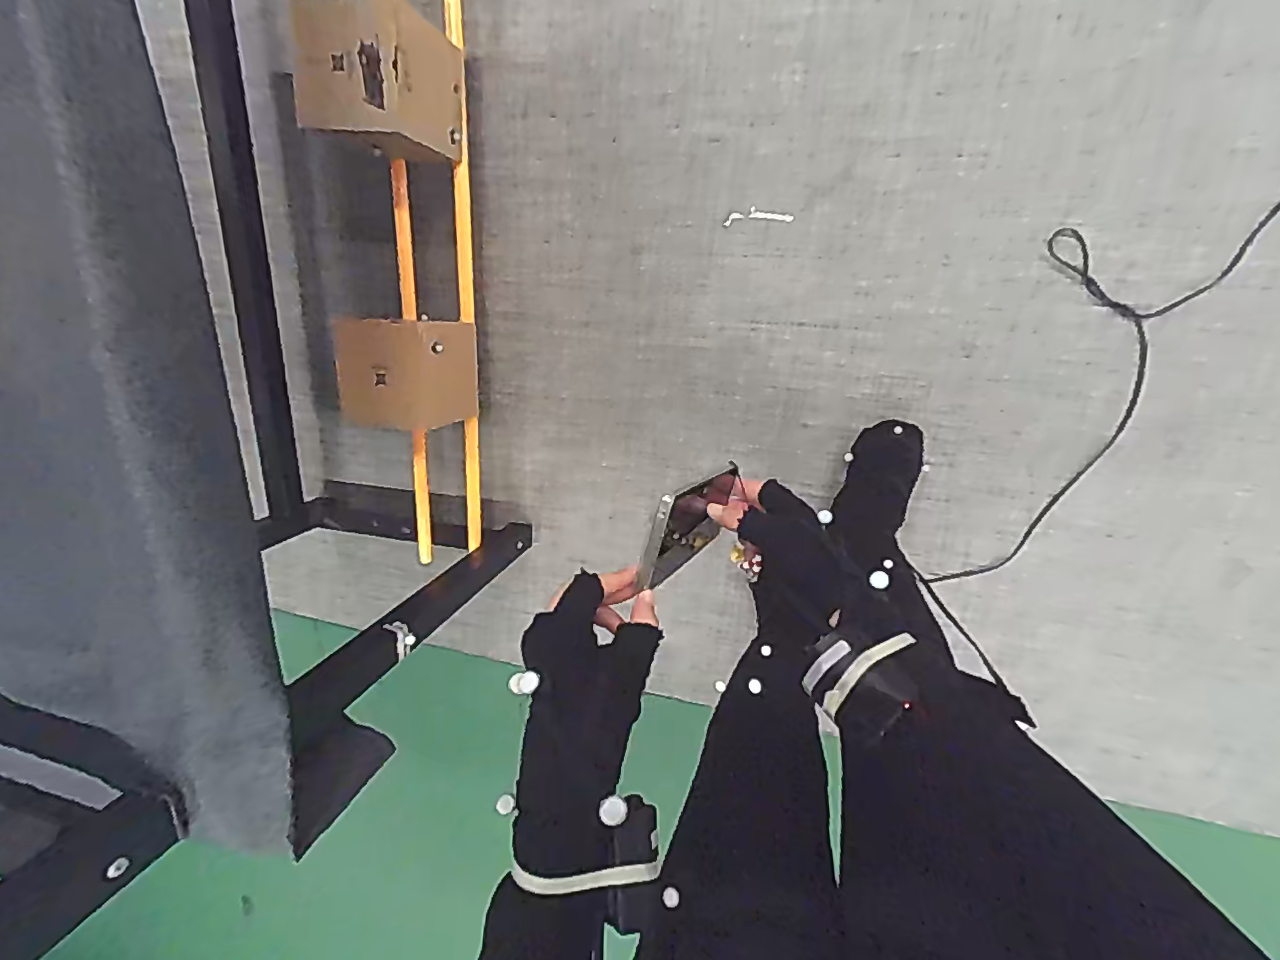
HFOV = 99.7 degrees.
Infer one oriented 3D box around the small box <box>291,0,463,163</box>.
[{"bbox_3d":[-0.391,-0.603,0.833,0.179,0.176,0.168,10,108,12],"label":"small box"}]
